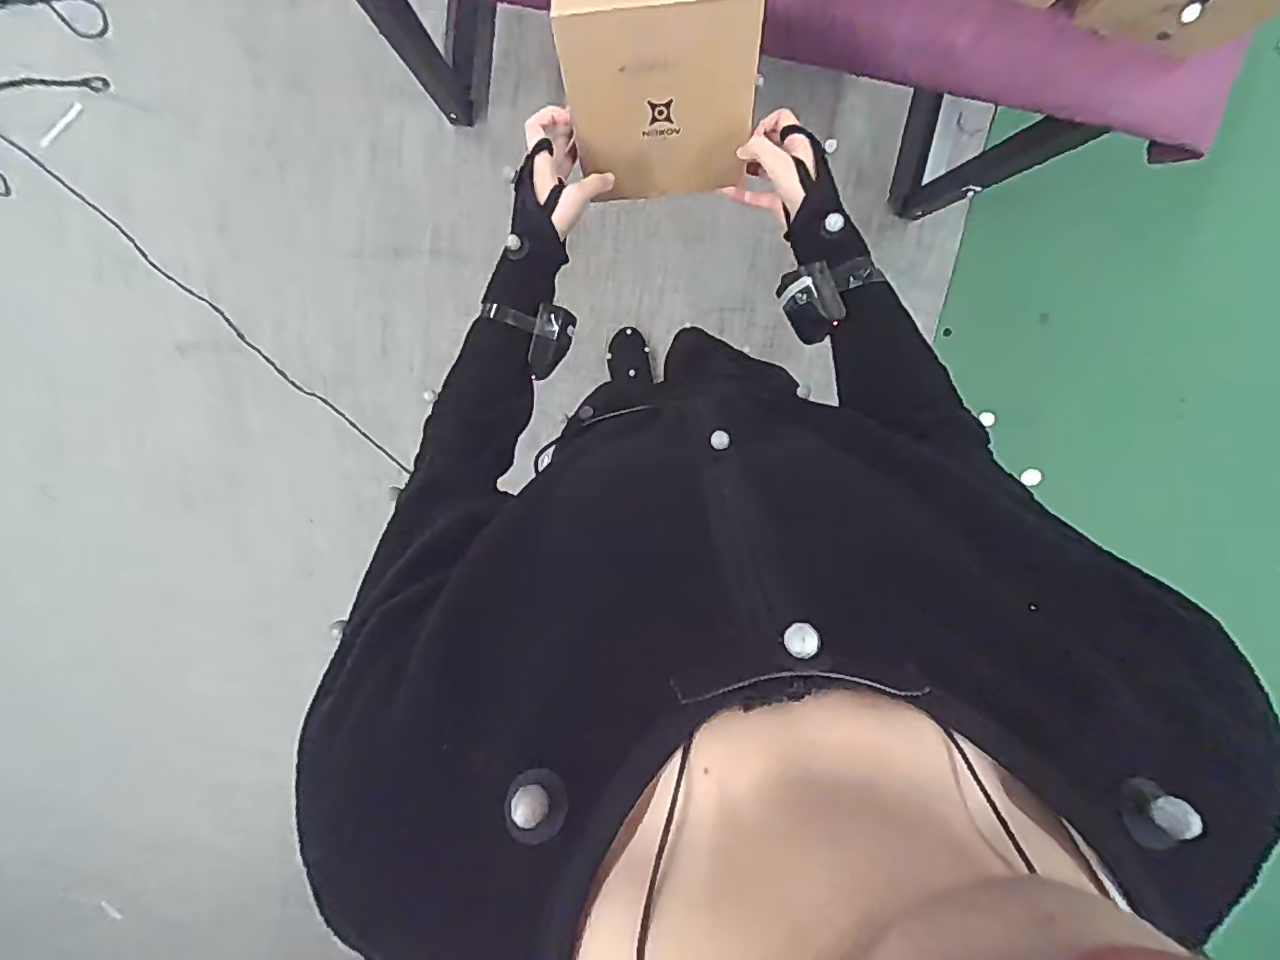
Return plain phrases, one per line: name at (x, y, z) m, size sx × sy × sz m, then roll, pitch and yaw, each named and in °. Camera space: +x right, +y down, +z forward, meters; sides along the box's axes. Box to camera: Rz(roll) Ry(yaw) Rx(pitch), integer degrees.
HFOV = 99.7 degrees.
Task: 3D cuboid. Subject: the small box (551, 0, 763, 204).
small box at (0.017, -0.399, 0.516) m, size 0.168 × 0.179 × 0.176 m, roll -2°, pitch 68°, yaw 3°
